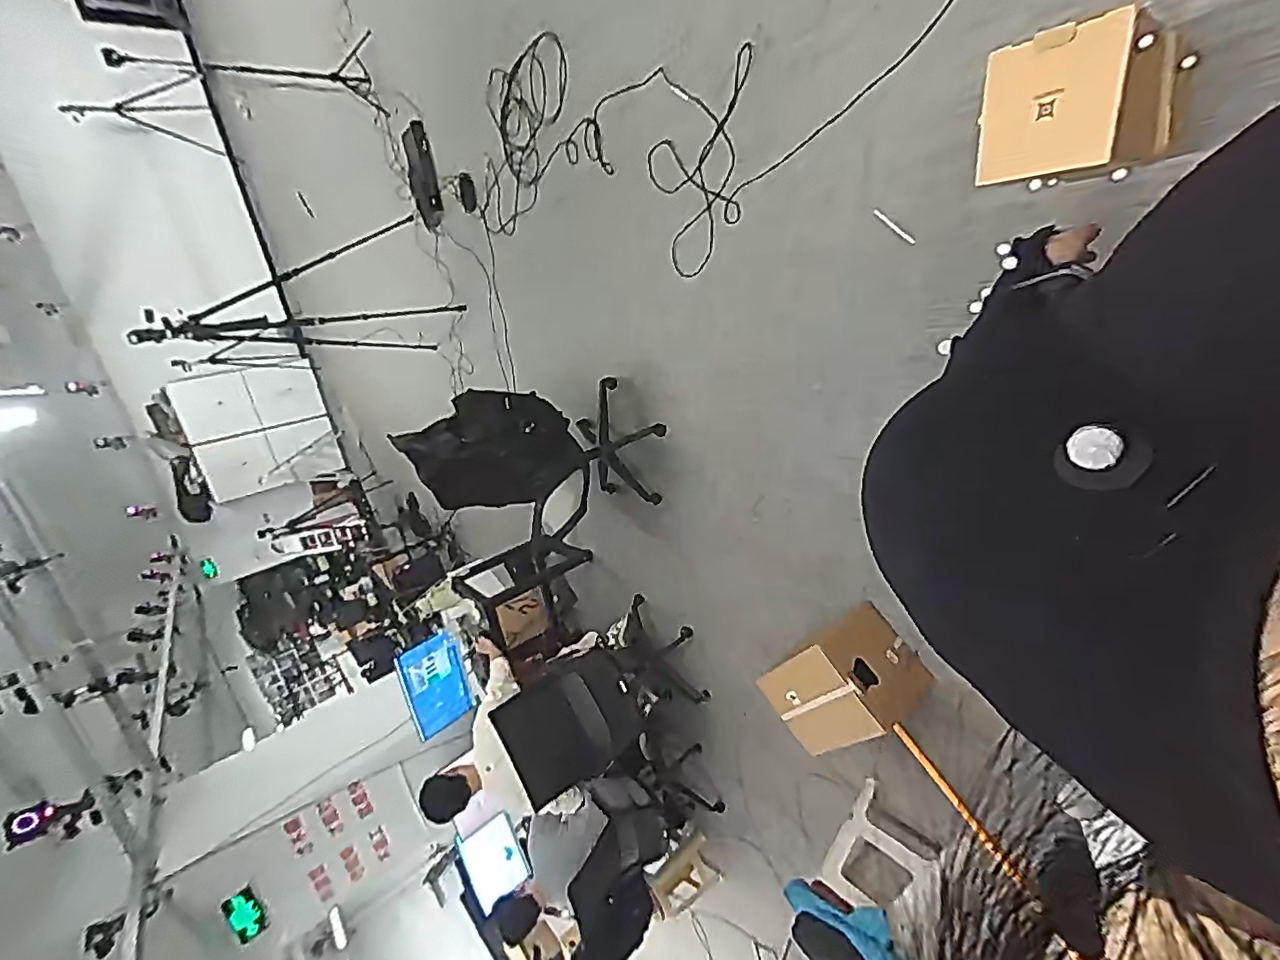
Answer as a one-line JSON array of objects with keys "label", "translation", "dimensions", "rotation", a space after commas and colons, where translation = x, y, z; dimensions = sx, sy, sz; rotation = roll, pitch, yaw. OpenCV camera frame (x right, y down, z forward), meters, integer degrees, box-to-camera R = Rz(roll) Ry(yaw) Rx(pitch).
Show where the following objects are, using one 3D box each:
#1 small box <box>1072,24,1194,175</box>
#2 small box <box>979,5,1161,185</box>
[{"label": "small box", "translation": [0.875, -0.674, 0.983], "dimensions": [0.168, 0.176, 0.179], "rotation": [10, 117, 51]}, {"label": "small box", "translation": [0.633, -0.552, 0.801], "dimensions": [0.168, 0.176, 0.179], "rotation": [17, 122, 48]}]
